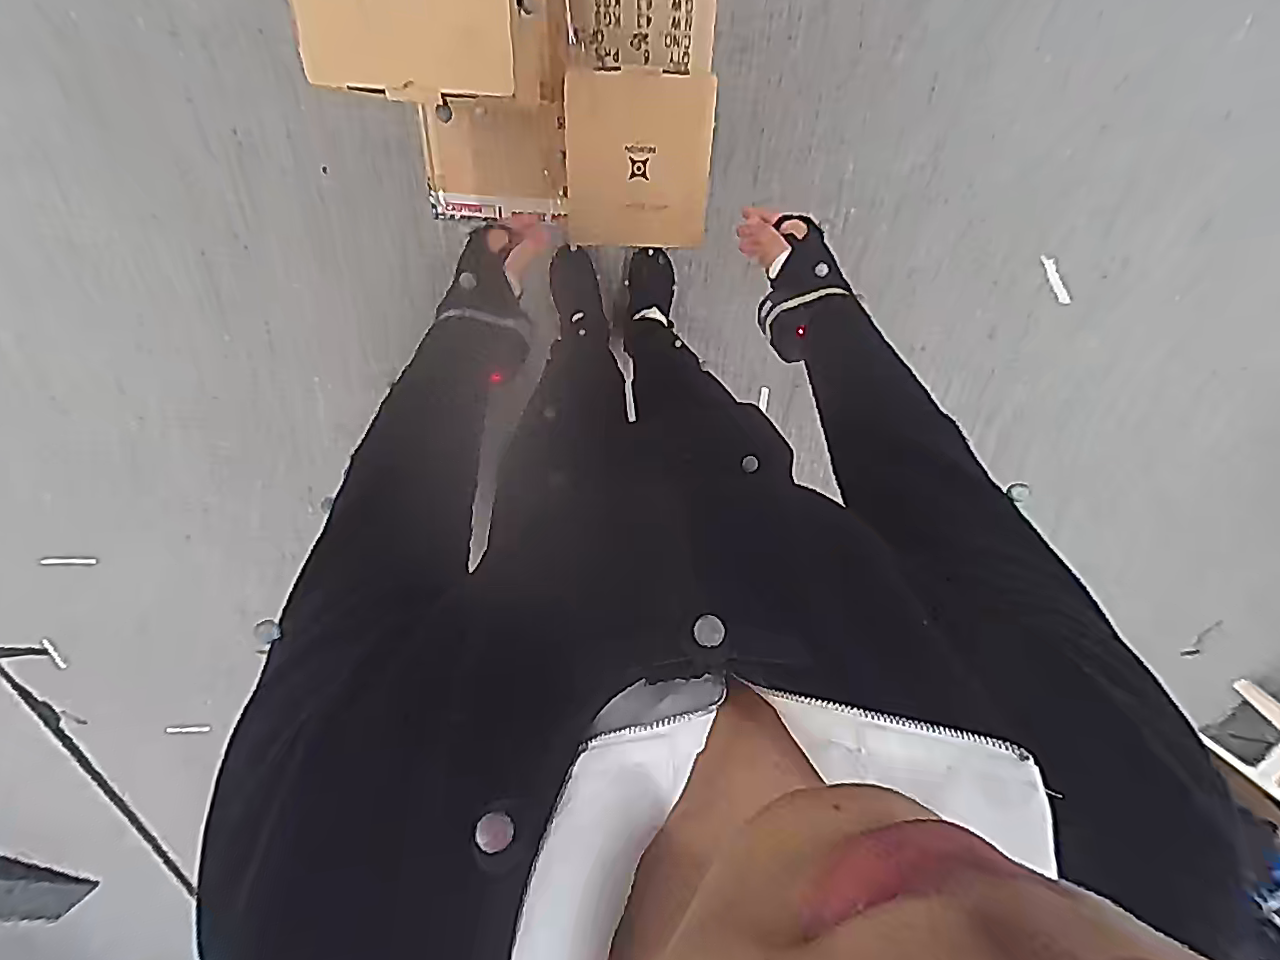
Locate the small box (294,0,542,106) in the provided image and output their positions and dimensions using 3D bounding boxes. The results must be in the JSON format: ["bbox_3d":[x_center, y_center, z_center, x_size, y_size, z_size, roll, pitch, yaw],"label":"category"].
[{"bbox_3d":[-0.178,-0.427,0.459,0.168,0.176,0.179,1,124,-3],"label":"small box"}]

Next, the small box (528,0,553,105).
[{"bbox_3d":[-0.189,-0.524,0.592,0.168,0.176,0.179,0,123,-2],"label":"small box"}]
